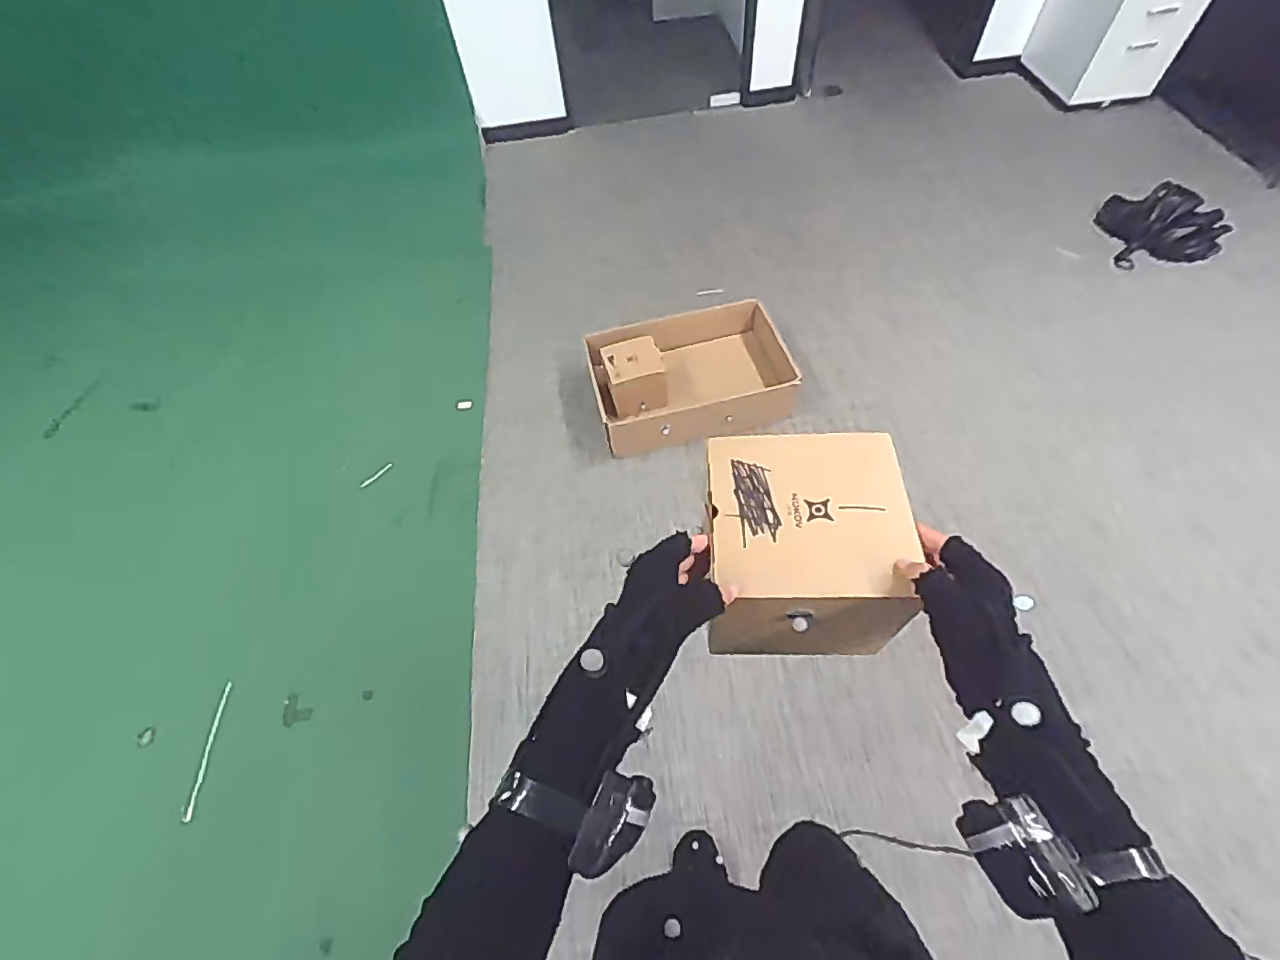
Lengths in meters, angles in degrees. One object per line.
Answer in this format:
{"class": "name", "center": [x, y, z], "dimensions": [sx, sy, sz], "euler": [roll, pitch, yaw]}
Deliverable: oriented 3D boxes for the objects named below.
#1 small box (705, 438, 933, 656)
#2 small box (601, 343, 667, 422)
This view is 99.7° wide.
{"class": "small box", "center": [0.157, 0.075, 0.546], "dimensions": [0.179, 0.176, 0.168], "euler": [-2, 57, 4]}
{"class": "small box", "center": [-0.018, -0.312, 1.749], "dimensions": [0.179, 0.176, 0.168], "euler": [-15, 56, -7]}
